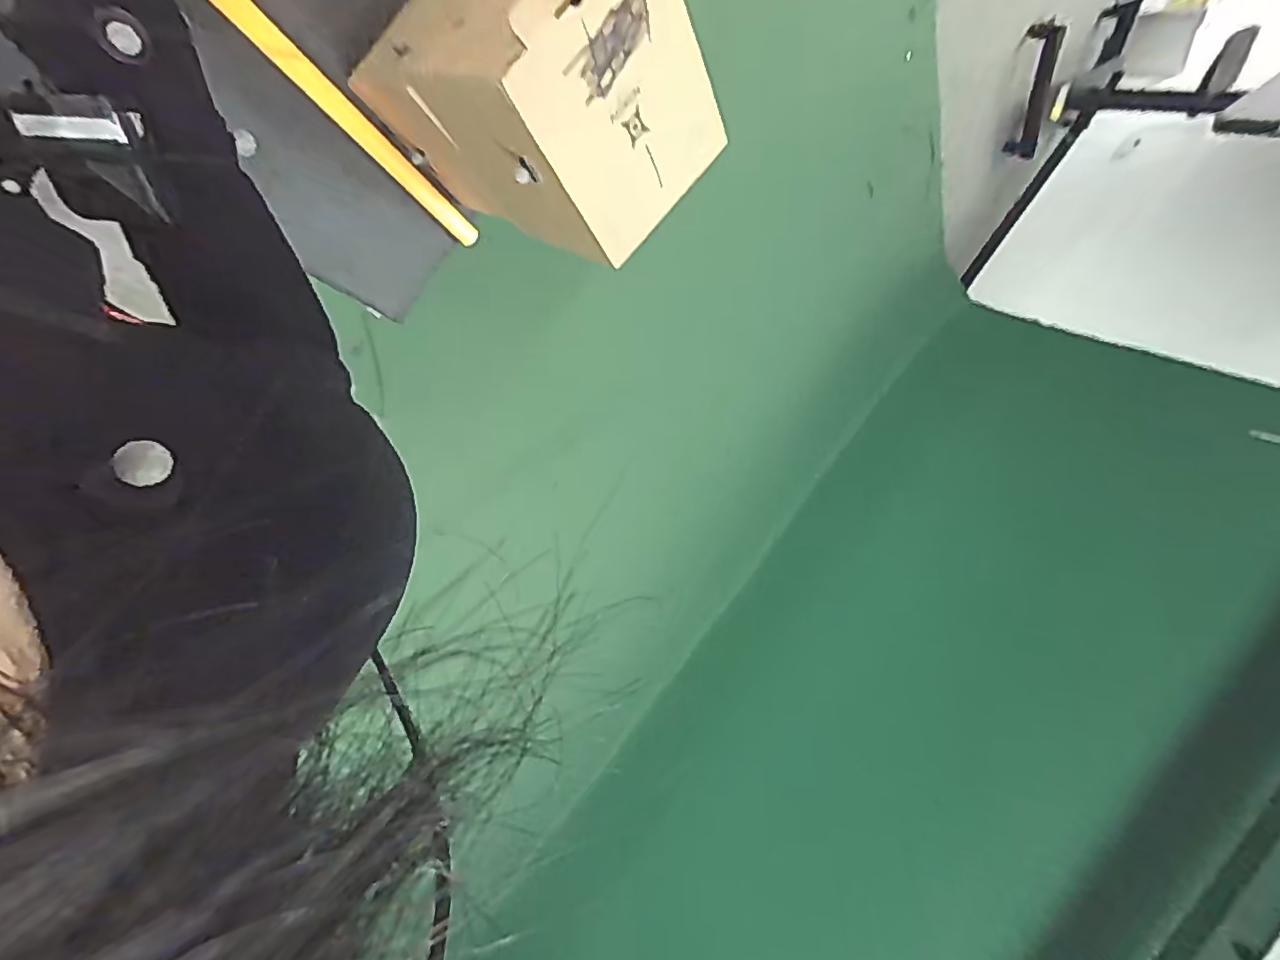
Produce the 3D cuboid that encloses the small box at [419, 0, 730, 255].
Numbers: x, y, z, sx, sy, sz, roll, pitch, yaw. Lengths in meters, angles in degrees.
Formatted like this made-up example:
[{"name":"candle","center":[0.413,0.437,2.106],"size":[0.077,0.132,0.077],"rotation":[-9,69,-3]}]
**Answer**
[{"name":"small box","center":[-0.055,-0.337,0.473],"size":[0.168,0.176,0.179],"rotation":[-49,144,-4]}]
